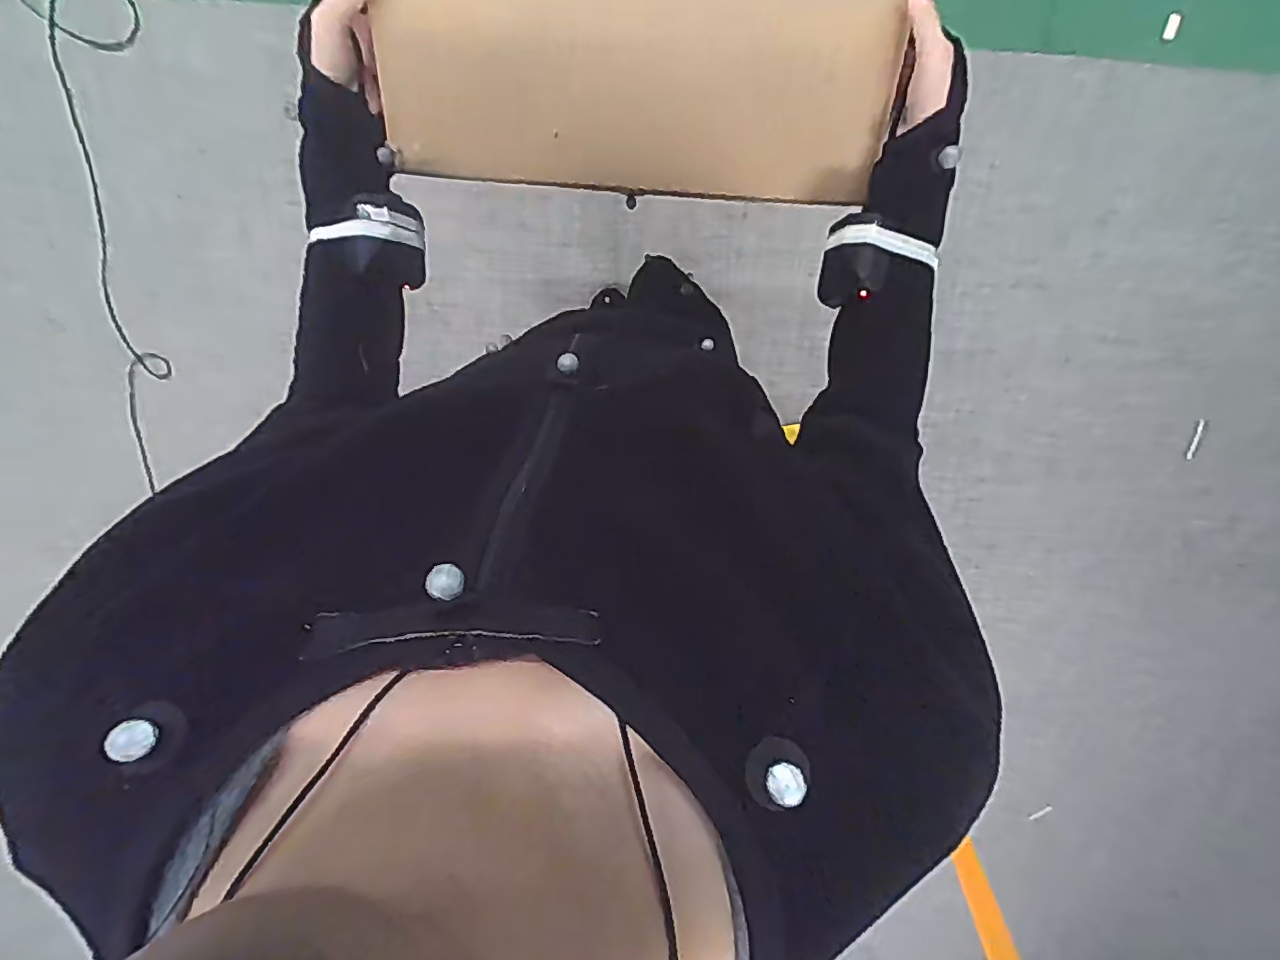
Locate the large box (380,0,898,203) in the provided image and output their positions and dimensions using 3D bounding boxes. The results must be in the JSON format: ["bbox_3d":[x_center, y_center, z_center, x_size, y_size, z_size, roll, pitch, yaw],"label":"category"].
[{"bbox_3d":[0.001,-0.458,0.531,0.408,0.320,0.320,2,117,-3],"label":"large box"}]
